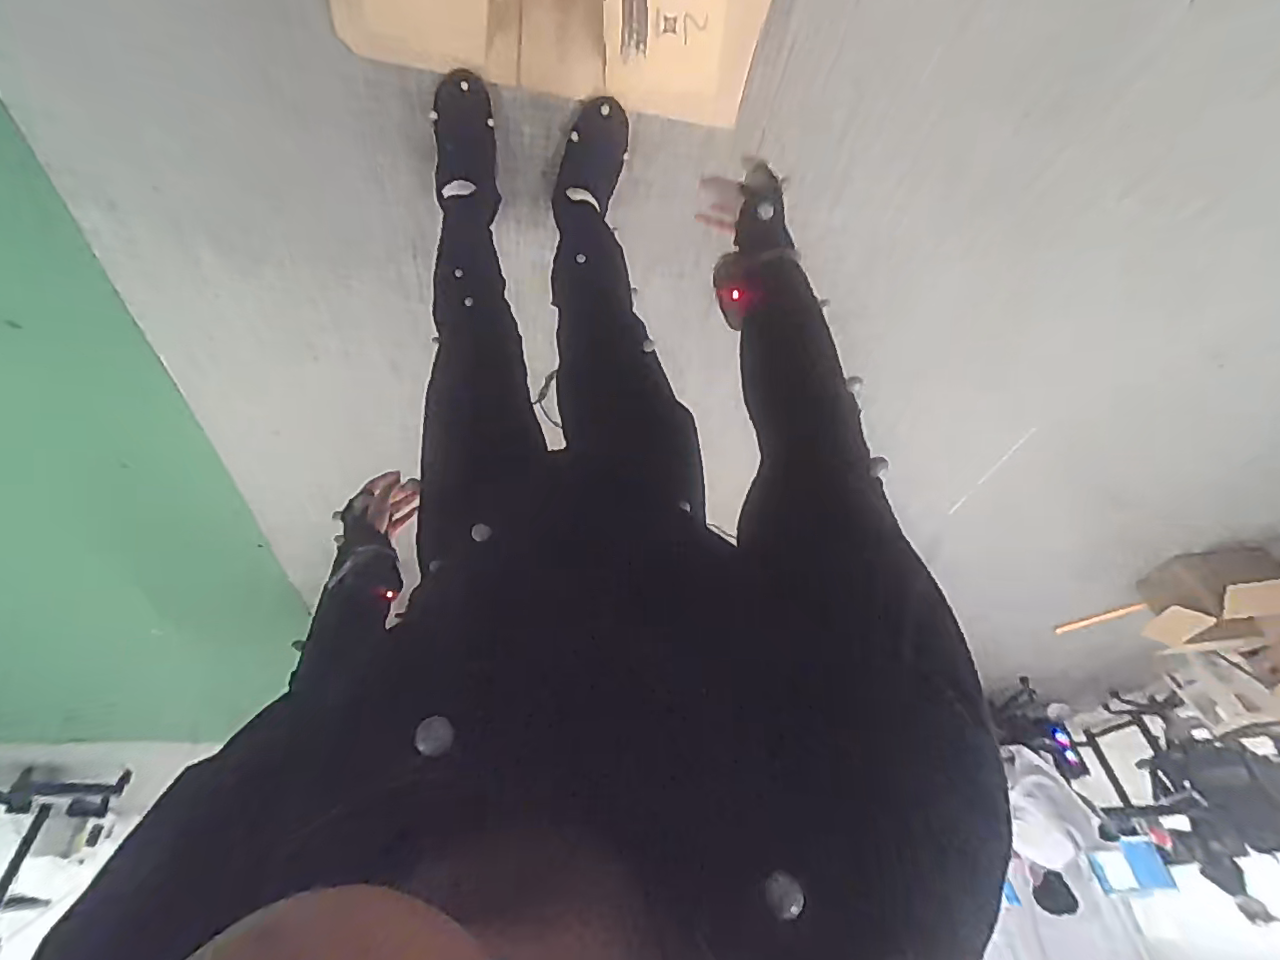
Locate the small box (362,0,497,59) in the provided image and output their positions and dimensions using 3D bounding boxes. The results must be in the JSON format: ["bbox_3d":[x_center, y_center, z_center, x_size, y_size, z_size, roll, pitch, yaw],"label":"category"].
[{"bbox_3d":[-0.289,-0.743,0.762,0.168,0.176,0.179,7,138,-16],"label":"small box"}]
